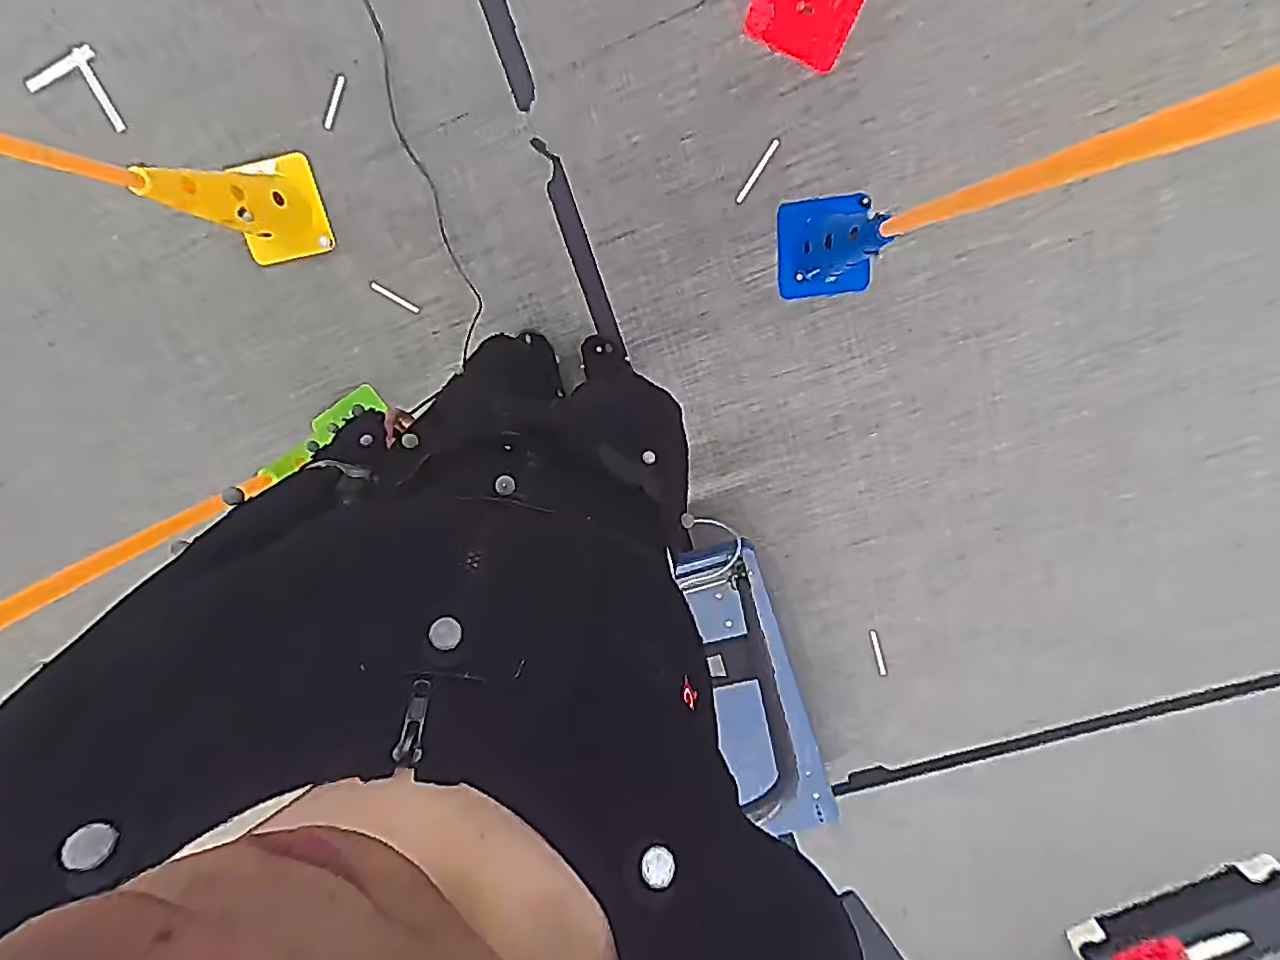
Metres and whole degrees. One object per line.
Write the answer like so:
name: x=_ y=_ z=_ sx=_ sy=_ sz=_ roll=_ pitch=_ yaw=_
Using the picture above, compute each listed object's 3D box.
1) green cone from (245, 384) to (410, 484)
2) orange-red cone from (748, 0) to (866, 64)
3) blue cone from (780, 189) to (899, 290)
green cone: x=-0.704 y=-0.060 z=1.177 sx=0.200 sy=0.368 sz=0.202 roll=-31 pitch=103 yaw=11
orange-red cone: x=0.321 y=-0.879 z=0.867 sx=0.198 sy=0.360 sz=0.199 roll=25 pitch=109 yaw=-5
blue cone: x=0.393 y=-0.467 z=1.015 sx=0.193 sy=0.380 sz=0.192 roll=-4 pitch=107 yaw=4
